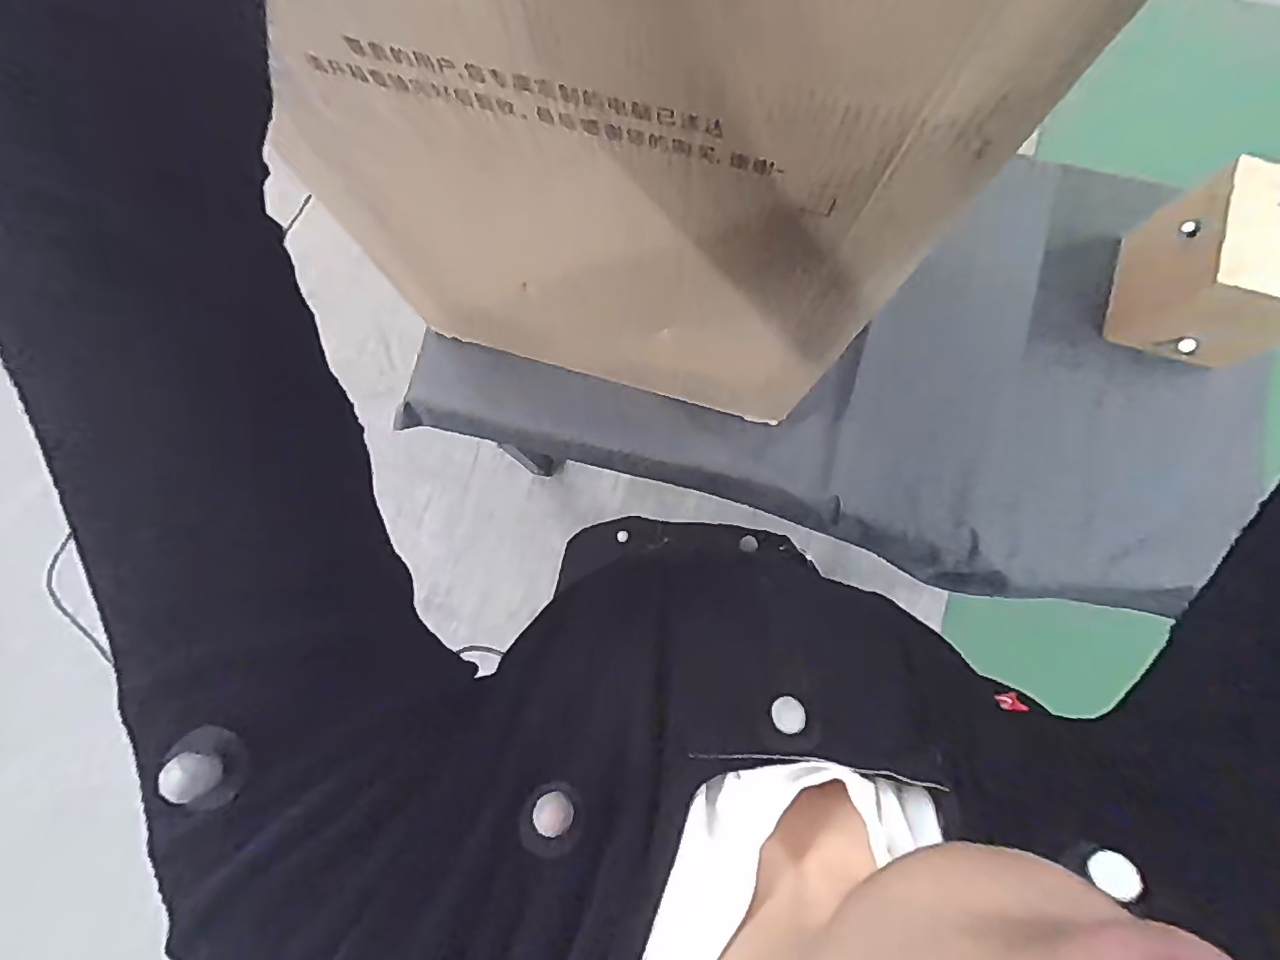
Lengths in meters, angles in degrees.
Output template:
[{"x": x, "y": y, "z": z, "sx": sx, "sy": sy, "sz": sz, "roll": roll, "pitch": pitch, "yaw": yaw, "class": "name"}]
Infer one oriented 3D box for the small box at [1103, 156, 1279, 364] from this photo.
[{"x": 0.778, "y": -0.282, "z": 0.727, "sx": 0.168, "sy": 0.176, "sz": 0.179, "roll": 17, "pitch": 82, "yaw": 4, "class": "small box"}]
